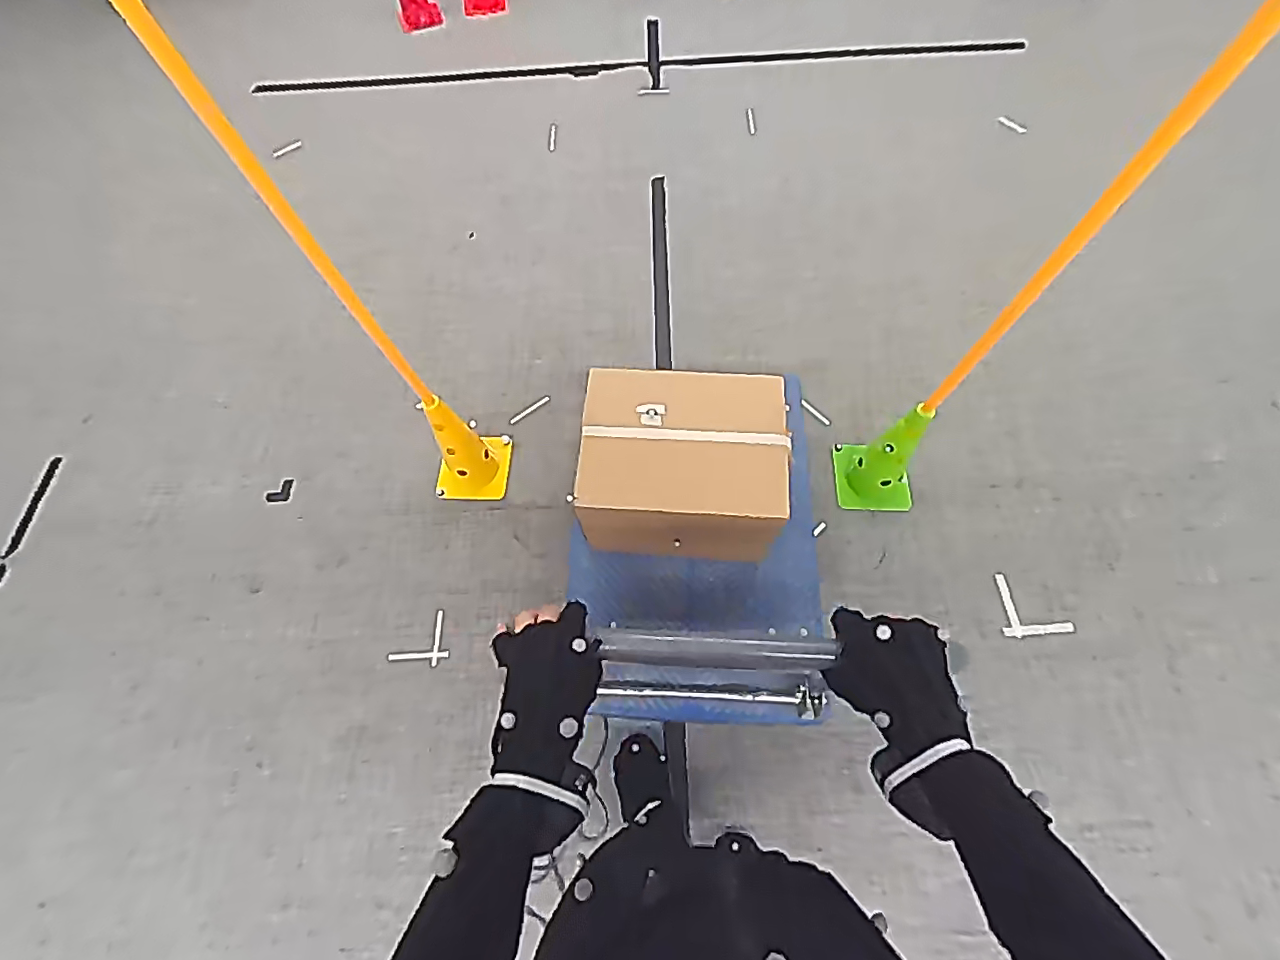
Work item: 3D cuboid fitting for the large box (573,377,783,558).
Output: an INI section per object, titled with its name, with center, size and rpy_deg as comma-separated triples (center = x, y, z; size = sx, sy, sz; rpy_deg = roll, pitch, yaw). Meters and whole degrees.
[large box]
center = 0.087, -0.015, 1.213
size = 0.408, 0.320, 0.320
rpy_deg = 3, 67, 4

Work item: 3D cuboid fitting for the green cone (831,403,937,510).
[green cone]
center = 0.645, -0.081, 1.375
size = 0.202, 0.368, 0.200
rpy_deg = 2, 66, 2
